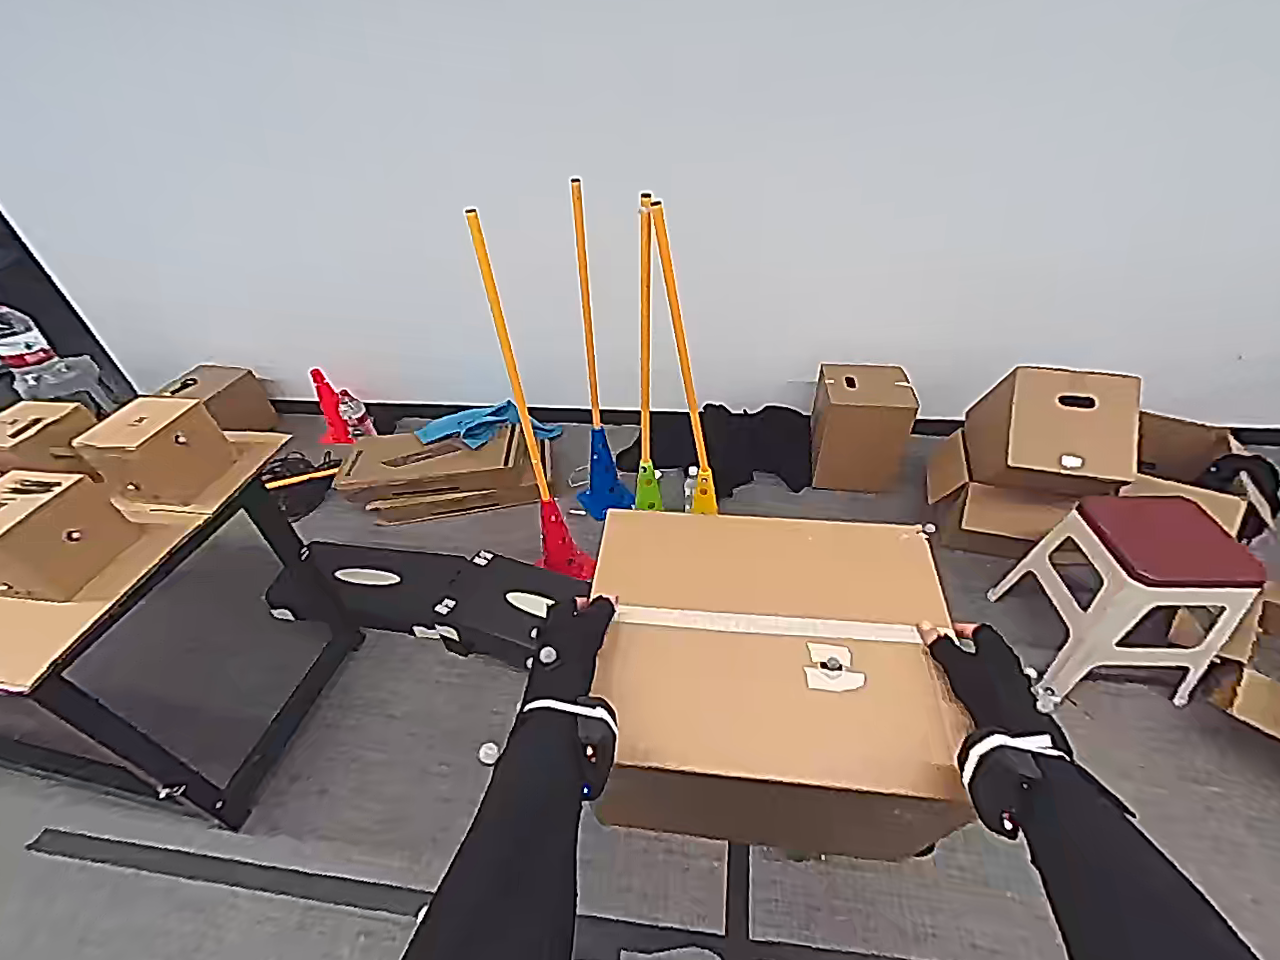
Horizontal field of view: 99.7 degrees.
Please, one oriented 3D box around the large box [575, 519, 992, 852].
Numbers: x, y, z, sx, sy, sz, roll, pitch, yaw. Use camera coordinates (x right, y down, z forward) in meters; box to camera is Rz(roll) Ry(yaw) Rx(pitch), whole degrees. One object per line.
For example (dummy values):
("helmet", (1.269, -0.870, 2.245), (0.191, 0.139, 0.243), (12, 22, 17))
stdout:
("large box", (0.150, 0.273, 0.725), (0.408, 0.320, 0.320), (3, 48, 6))
